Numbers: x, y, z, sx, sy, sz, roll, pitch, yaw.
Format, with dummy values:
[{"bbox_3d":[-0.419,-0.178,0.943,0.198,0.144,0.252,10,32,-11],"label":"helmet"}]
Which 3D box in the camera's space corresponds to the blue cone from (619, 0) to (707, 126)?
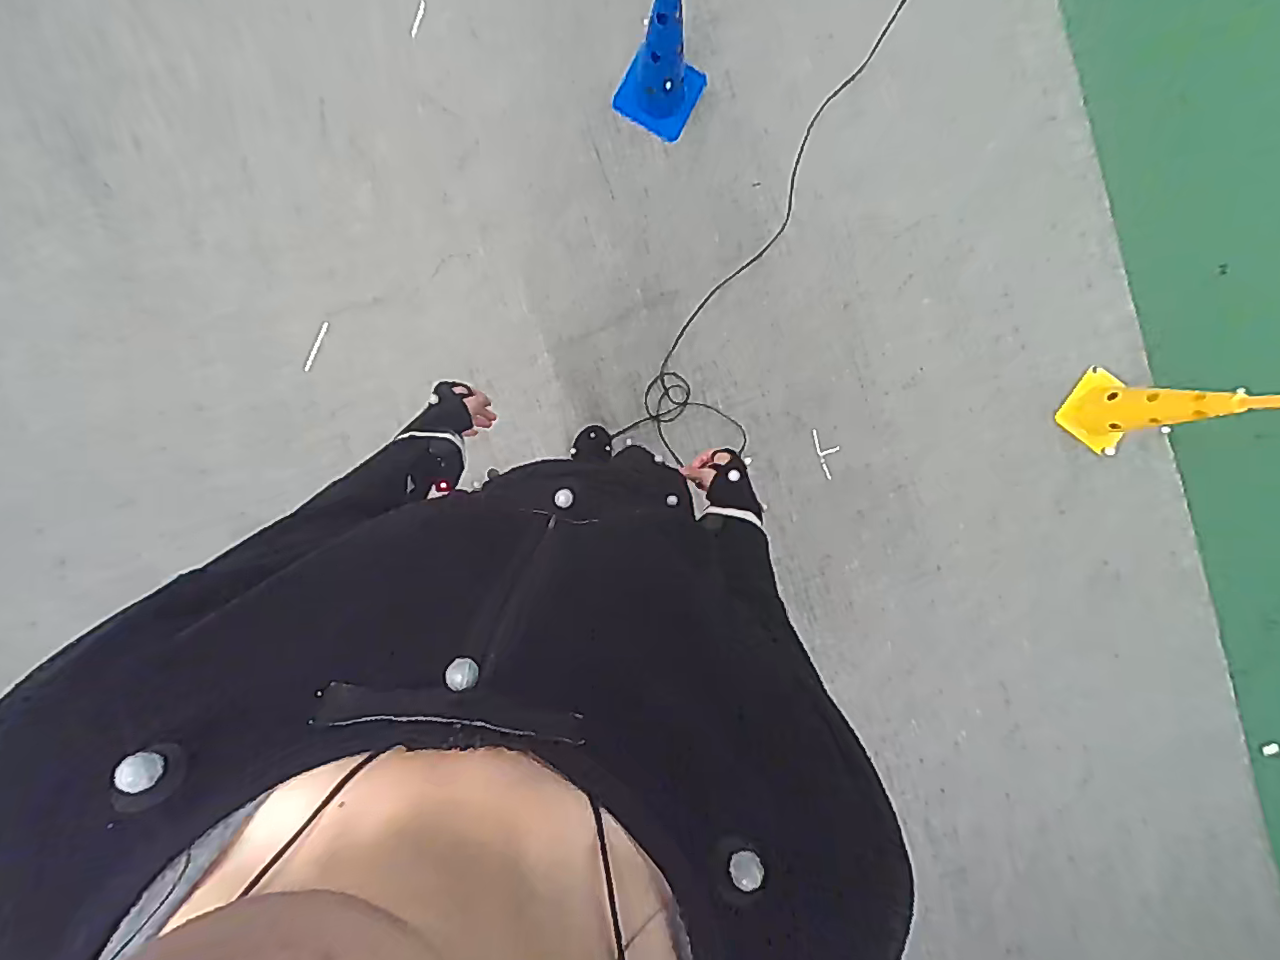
[{"bbox_3d":[0.059,-1.019,1.235,0.193,0.380,0.192,27,94,-3],"label":"blue cone"}]
